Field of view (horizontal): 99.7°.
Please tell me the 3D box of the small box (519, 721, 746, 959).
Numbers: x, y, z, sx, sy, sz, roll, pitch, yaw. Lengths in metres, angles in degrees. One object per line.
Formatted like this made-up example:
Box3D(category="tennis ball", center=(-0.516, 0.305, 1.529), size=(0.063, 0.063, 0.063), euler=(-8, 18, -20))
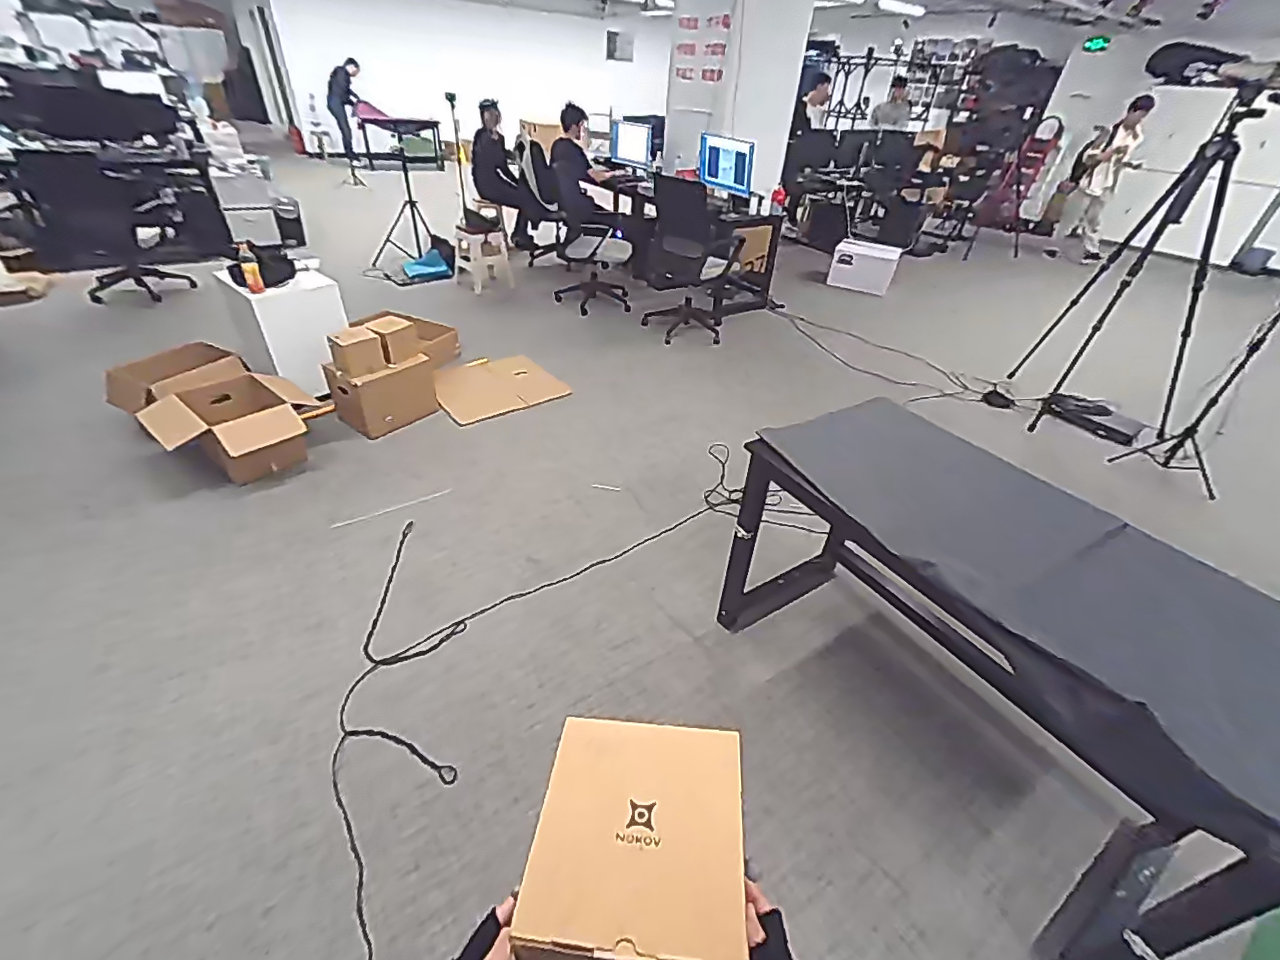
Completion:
Box3D(category="small box", center=(0.004, 0.354, 0.490), size=(0.168, 0.176, 0.179), euler=(3, 33, 7))
